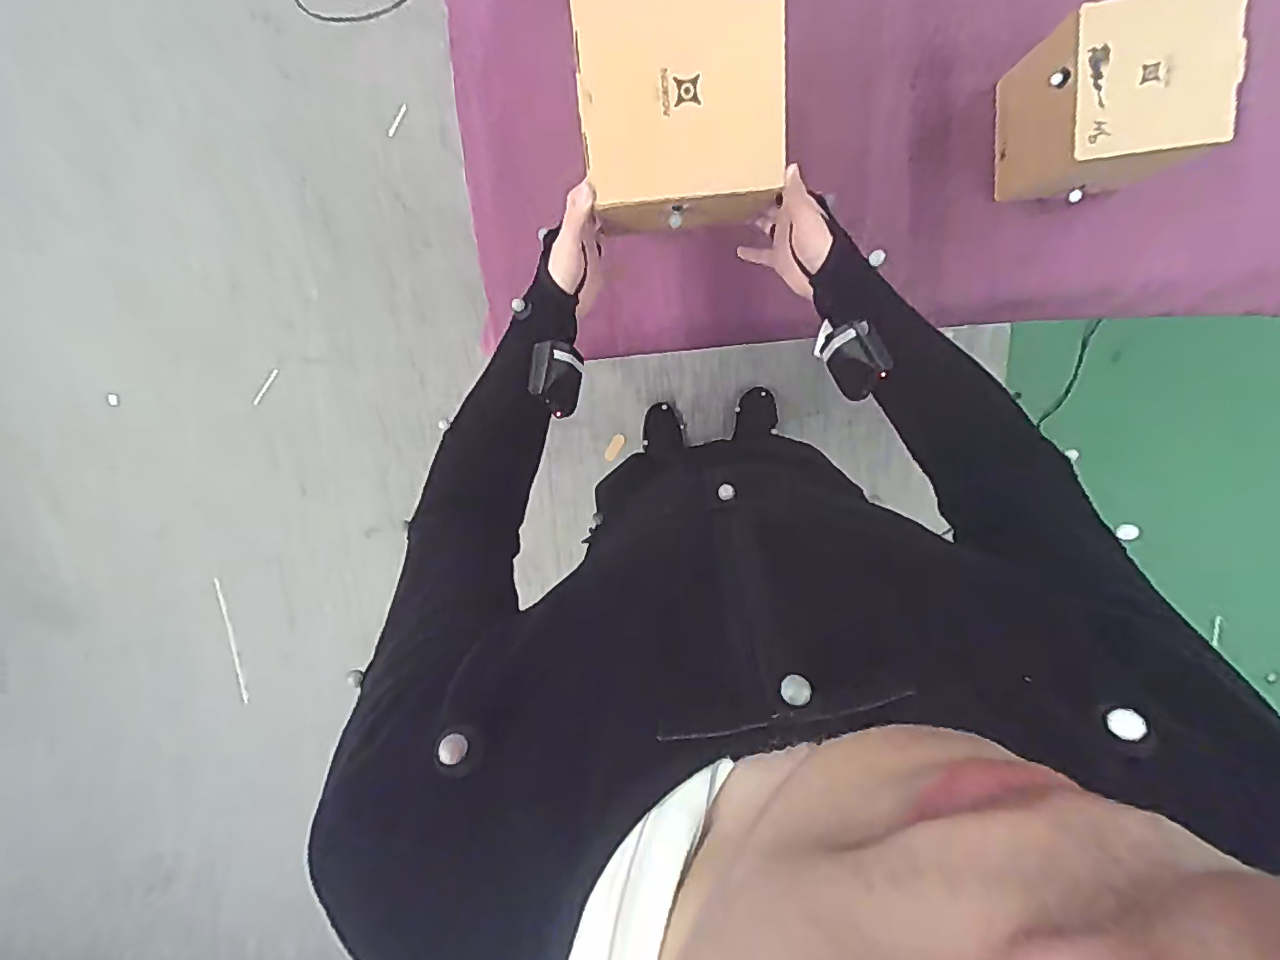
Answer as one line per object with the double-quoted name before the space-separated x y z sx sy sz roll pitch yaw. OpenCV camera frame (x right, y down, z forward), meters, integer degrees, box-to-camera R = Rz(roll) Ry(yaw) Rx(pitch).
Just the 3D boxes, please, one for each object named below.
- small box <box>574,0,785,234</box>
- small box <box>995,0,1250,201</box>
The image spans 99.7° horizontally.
"small box" 0.040 -0.351 0.541 0.179 0.176 0.168 -3 107 5
"small box" 0.596 -0.476 0.691 0.179 0.176 0.168 -4 100 6
